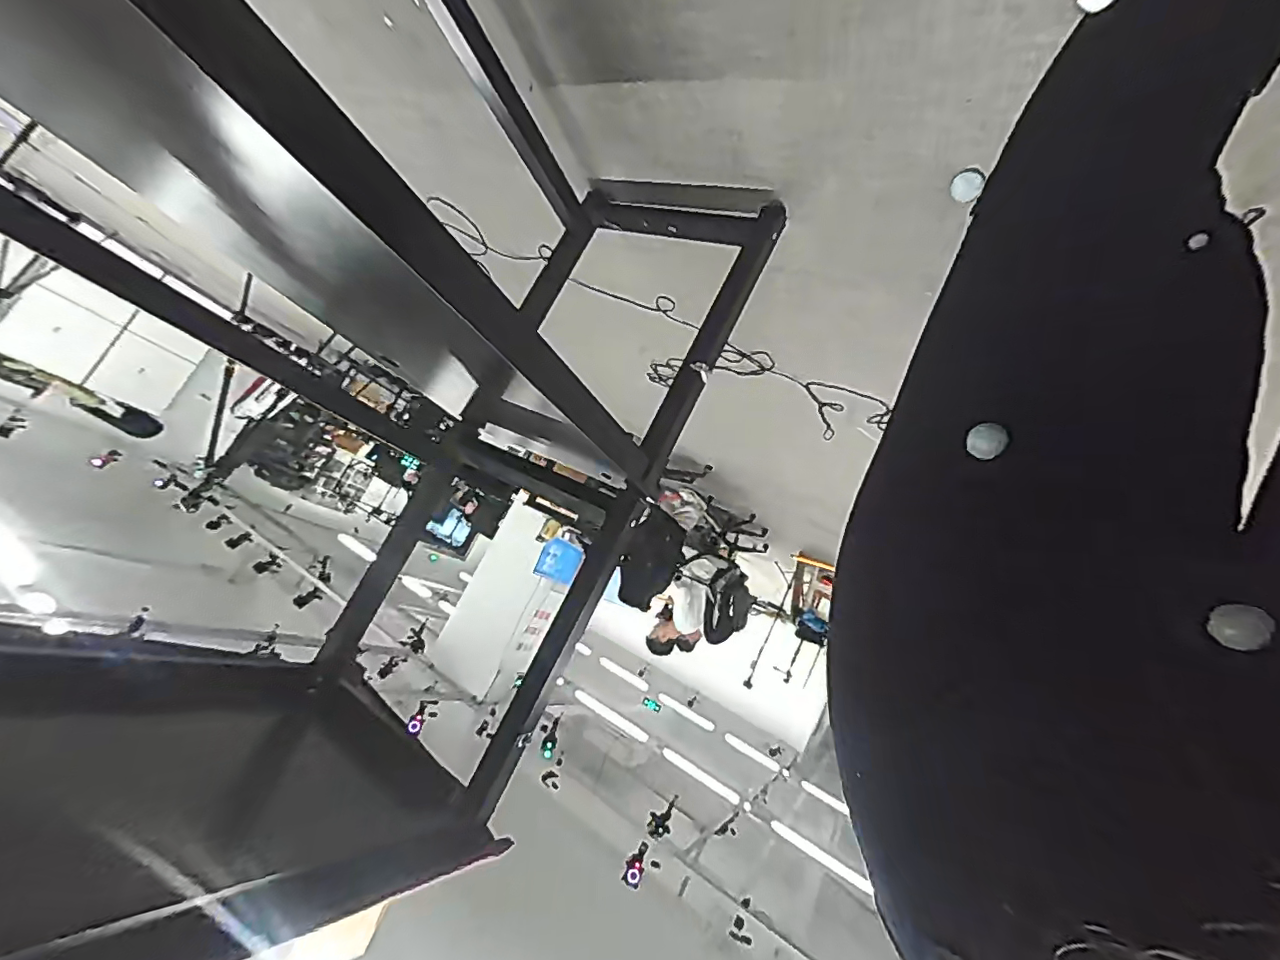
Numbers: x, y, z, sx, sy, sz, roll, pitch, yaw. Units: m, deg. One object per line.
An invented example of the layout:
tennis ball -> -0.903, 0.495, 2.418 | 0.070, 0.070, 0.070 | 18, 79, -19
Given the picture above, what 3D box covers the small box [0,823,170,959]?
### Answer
small box -> -0.669, 0.507, 0.579 | 0.168, 0.176, 0.179 | 23, 169, 28
